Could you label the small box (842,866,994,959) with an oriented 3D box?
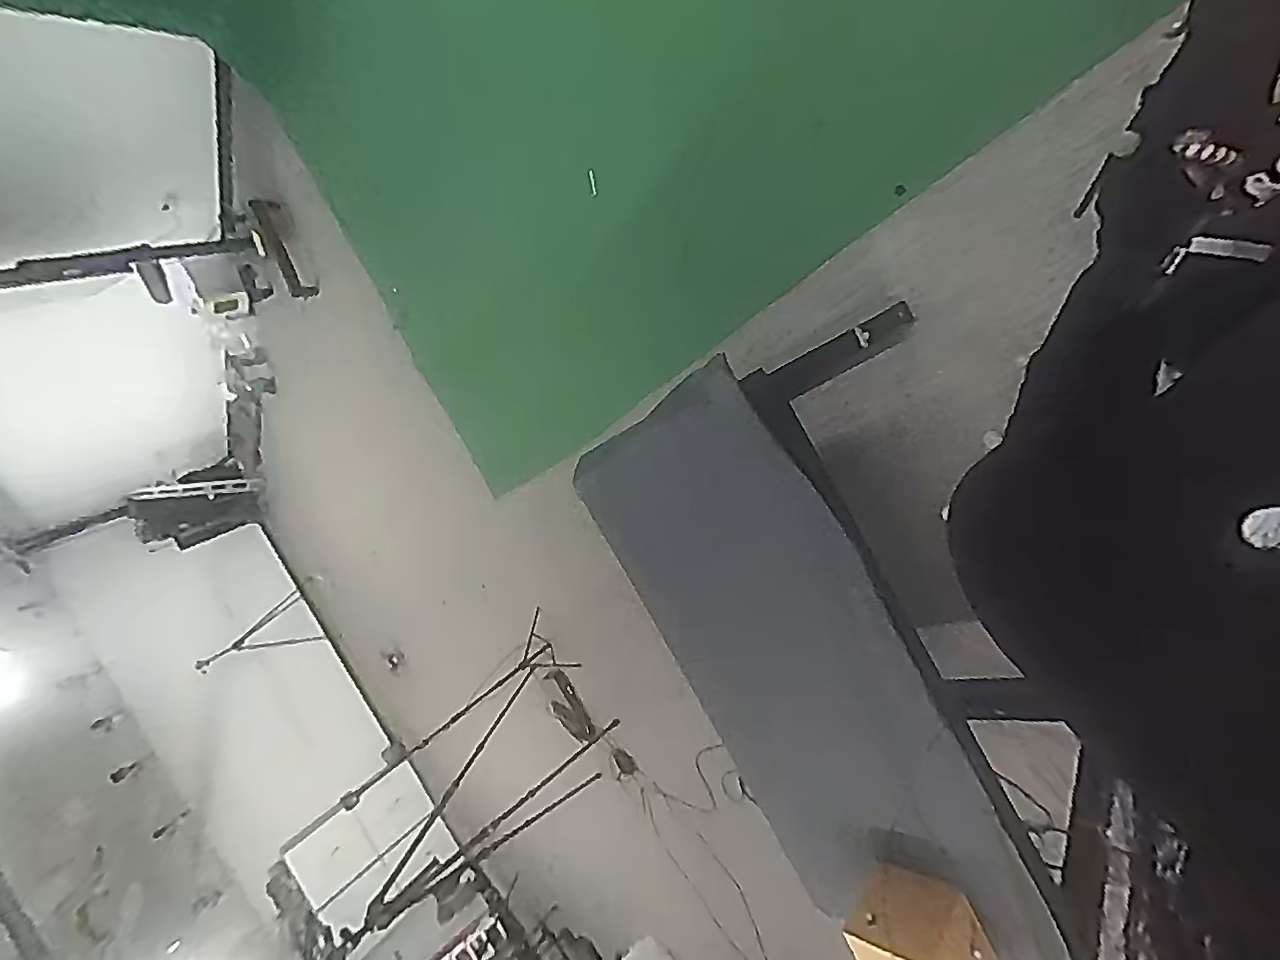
[{"bbox_3d":[0.521,0.874,1.014,0.179,0.176,0.168,-24,94,51],"label":"small box"}]
